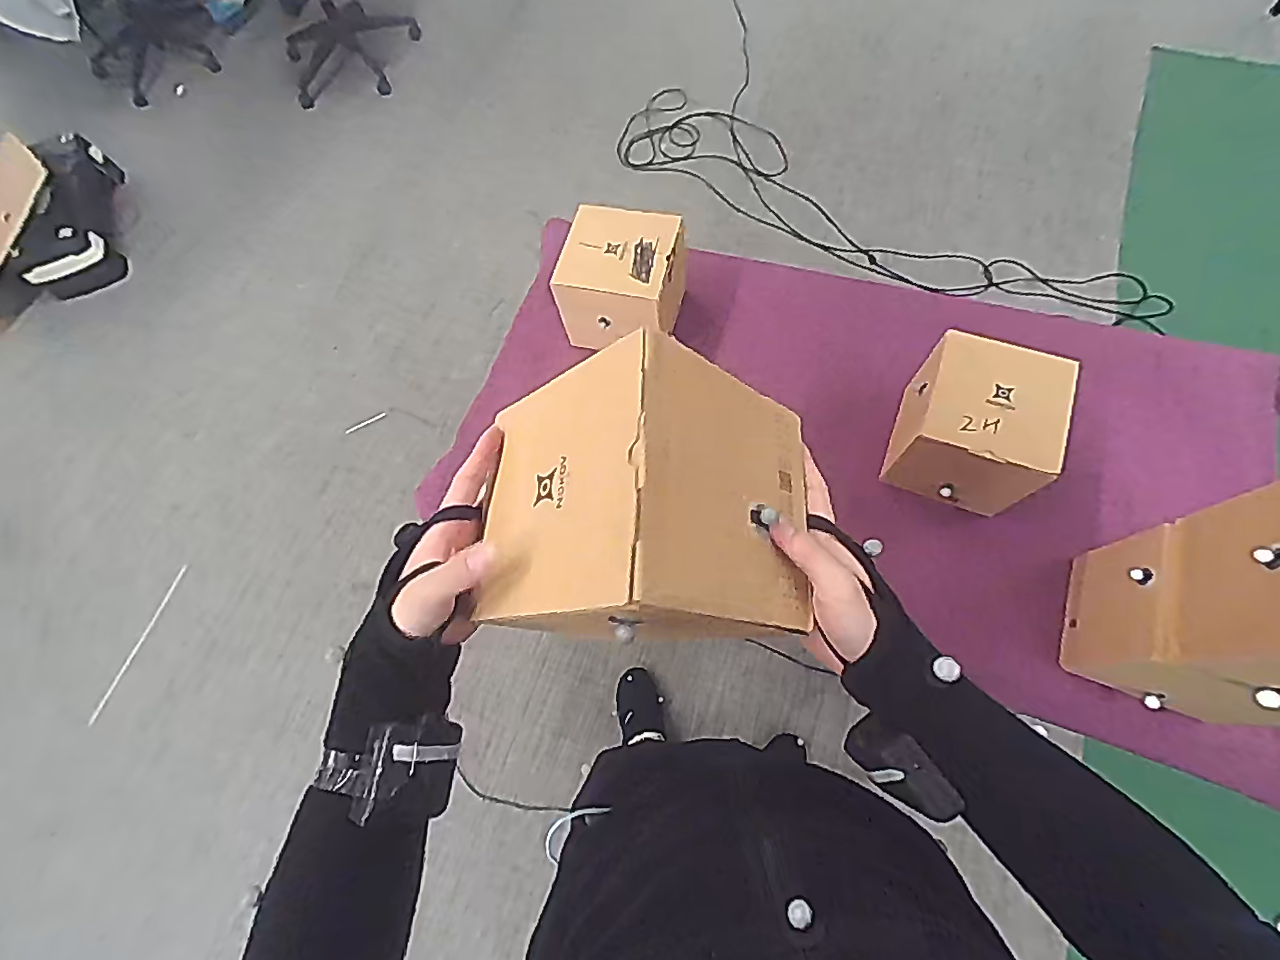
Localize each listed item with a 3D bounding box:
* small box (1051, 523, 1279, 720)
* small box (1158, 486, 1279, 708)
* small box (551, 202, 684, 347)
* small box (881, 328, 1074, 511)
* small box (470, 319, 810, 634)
[{"bbox_3d":[0.657,0.176,0.659,0.179,0.176,0.168,20,72,13],"label":"small box"},{"bbox_3d":[0.645,0.114,0.508,0.168,0.176,0.179,19,72,14],"label":"small box"},{"bbox_3d":[-0.027,-0.332,0.916,0.179,0.176,0.168,13,71,11],"label":"small box"},{"bbox_3d":[0.469,-0.079,0.775,0.168,0.176,0.179,20,73,13],"label":"small box"},{"bbox_3d":[0.002,0.021,0.402,0.179,0.176,0.168,-18,61,42],"label":"small box"}]
